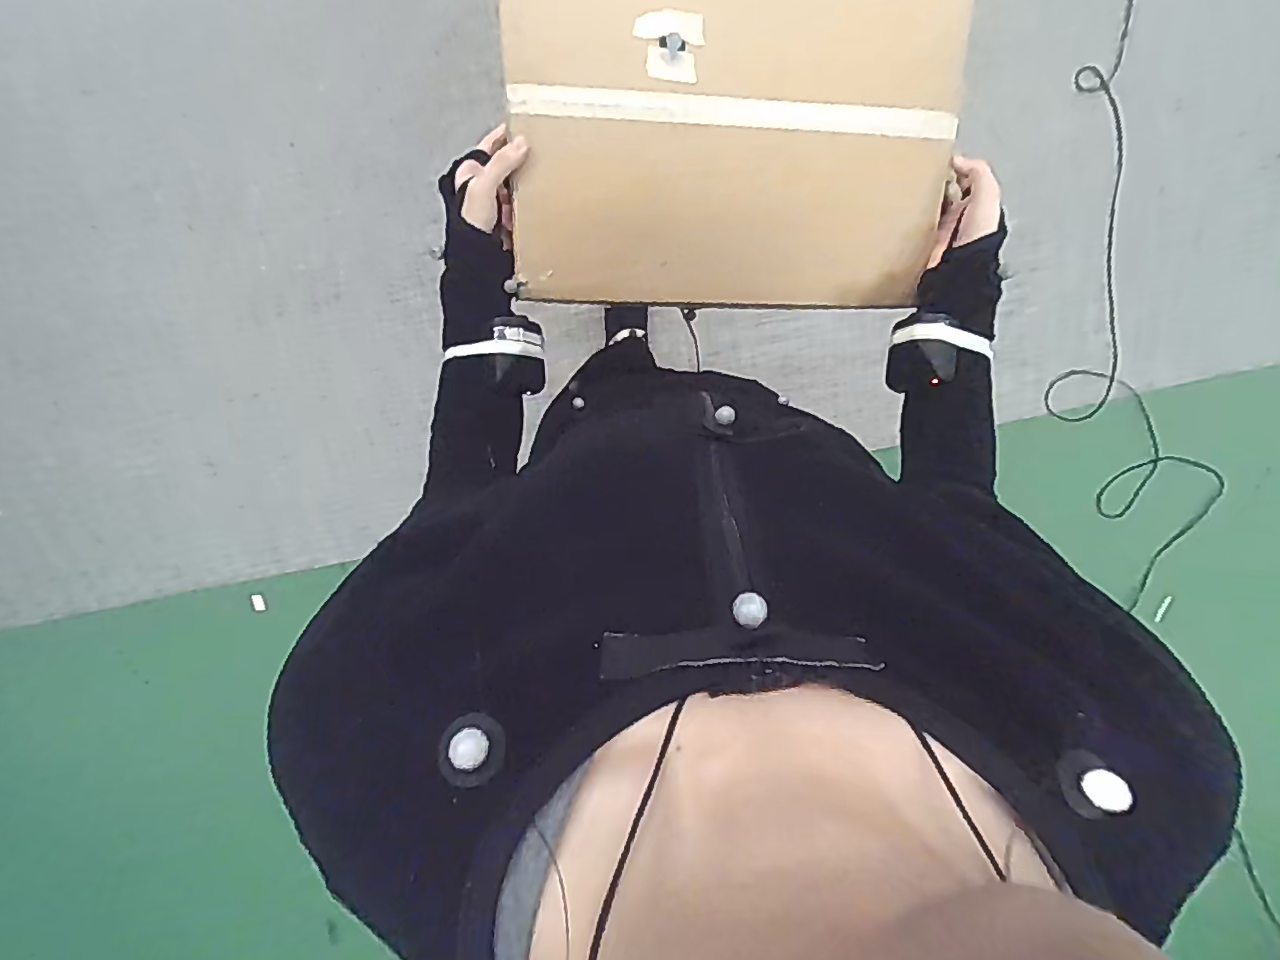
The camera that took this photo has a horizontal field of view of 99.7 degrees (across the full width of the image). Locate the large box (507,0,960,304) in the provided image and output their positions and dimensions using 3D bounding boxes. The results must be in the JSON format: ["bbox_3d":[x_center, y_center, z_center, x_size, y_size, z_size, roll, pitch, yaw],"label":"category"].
[{"bbox_3d":[0.069,-0.376,0.629,0.408,0.320,0.320,0,108,-8],"label":"large box"}]
